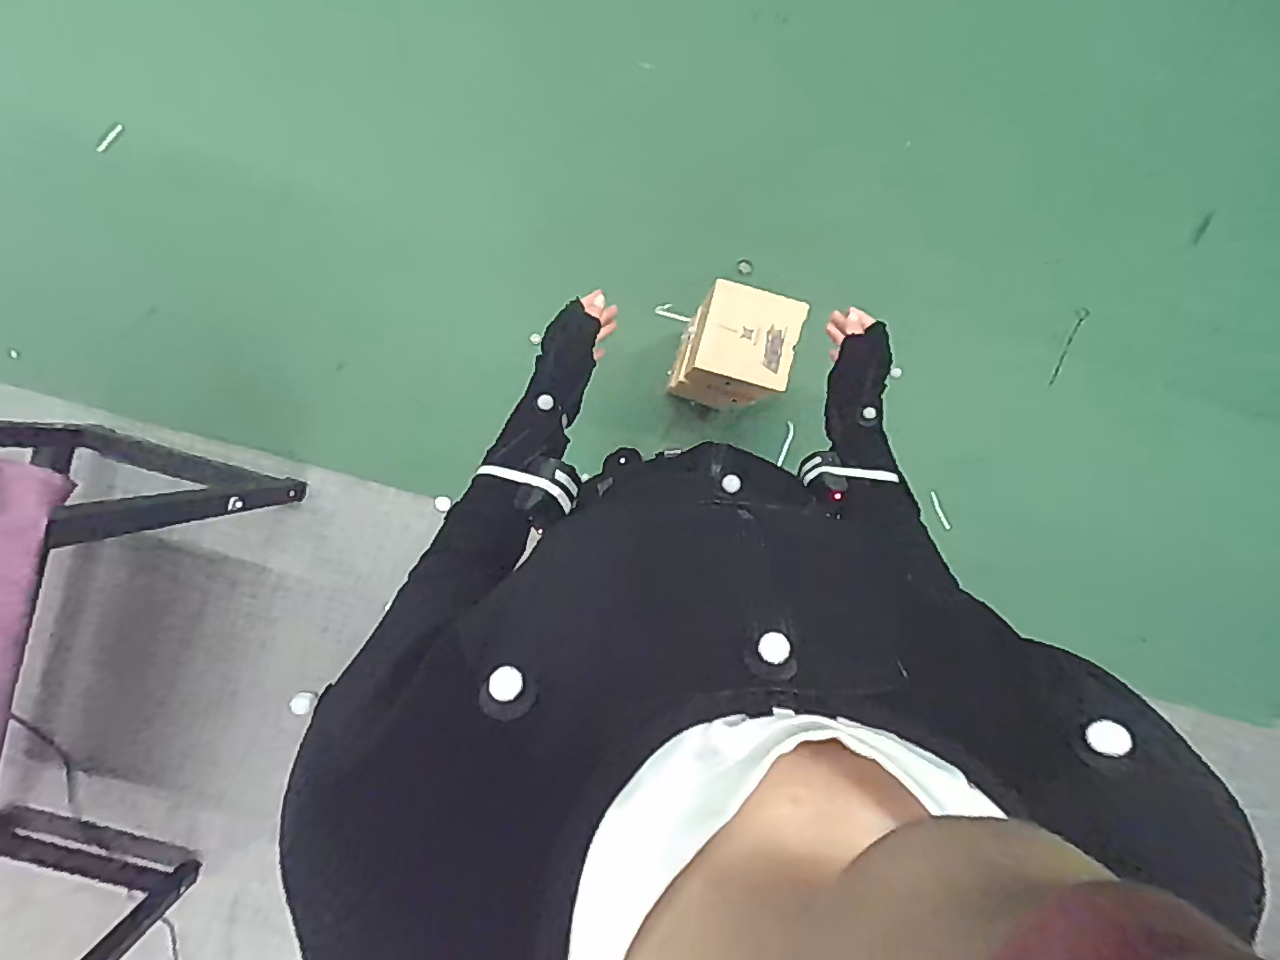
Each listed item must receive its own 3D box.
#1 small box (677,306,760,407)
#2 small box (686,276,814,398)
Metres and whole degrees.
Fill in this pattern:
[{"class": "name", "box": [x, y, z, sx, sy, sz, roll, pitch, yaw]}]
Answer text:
[{"class": "small box", "box": [0.189, -0.267, 1.212, 0.179, 0.176, 0.168, 16, 94, -3]}, {"class": "small box", "box": [0.203, -0.264, 1.046, 0.179, 0.176, 0.168, 18, 92, -3]}]
